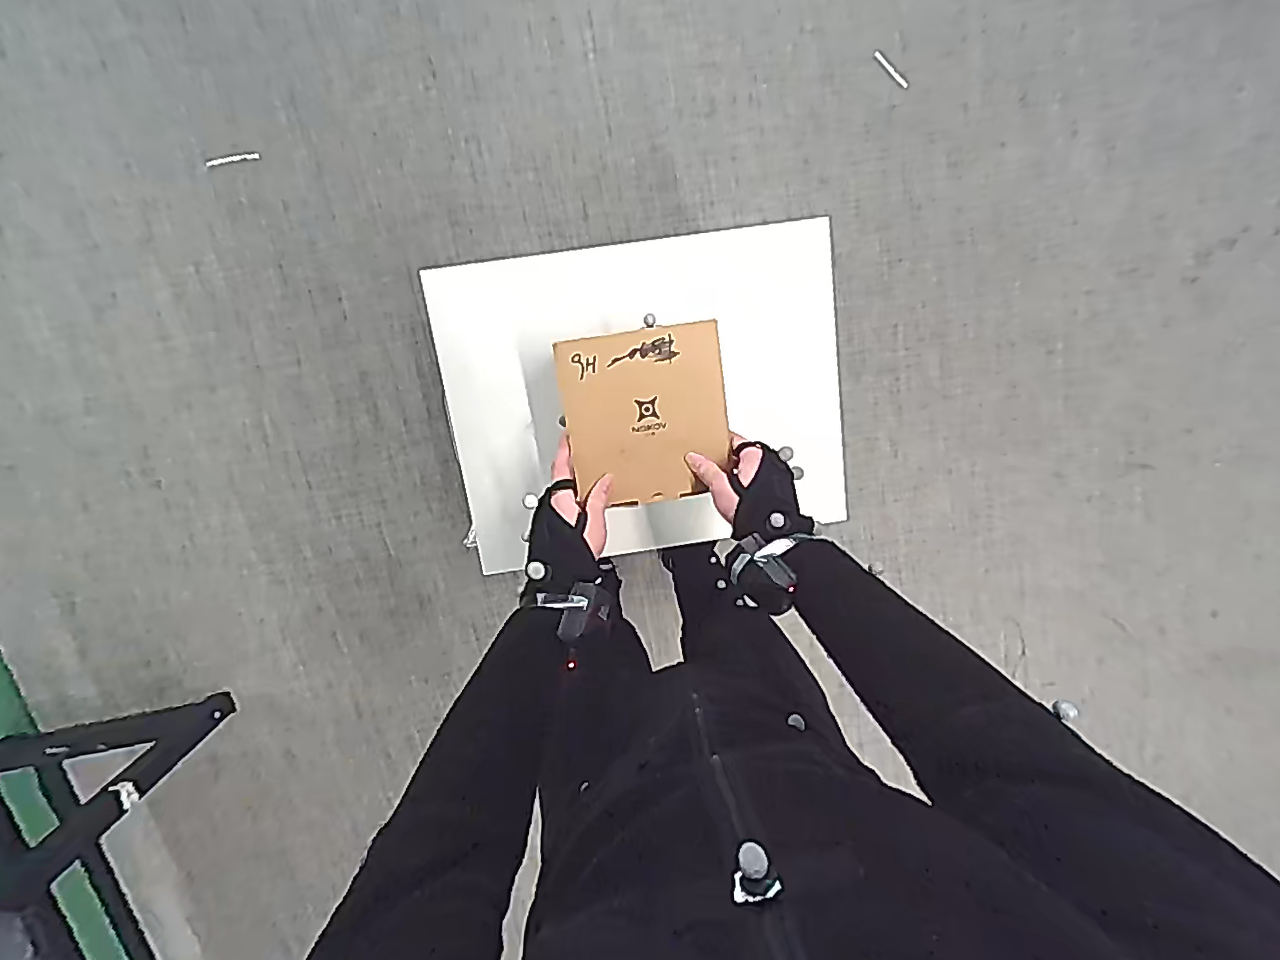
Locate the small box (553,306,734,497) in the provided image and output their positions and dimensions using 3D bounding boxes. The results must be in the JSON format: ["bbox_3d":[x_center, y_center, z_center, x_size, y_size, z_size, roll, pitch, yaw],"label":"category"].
[{"bbox_3d":[0.004,-0.095,0.634,0.168,0.176,0.179,-11,102,-1],"label":"small box"}]
